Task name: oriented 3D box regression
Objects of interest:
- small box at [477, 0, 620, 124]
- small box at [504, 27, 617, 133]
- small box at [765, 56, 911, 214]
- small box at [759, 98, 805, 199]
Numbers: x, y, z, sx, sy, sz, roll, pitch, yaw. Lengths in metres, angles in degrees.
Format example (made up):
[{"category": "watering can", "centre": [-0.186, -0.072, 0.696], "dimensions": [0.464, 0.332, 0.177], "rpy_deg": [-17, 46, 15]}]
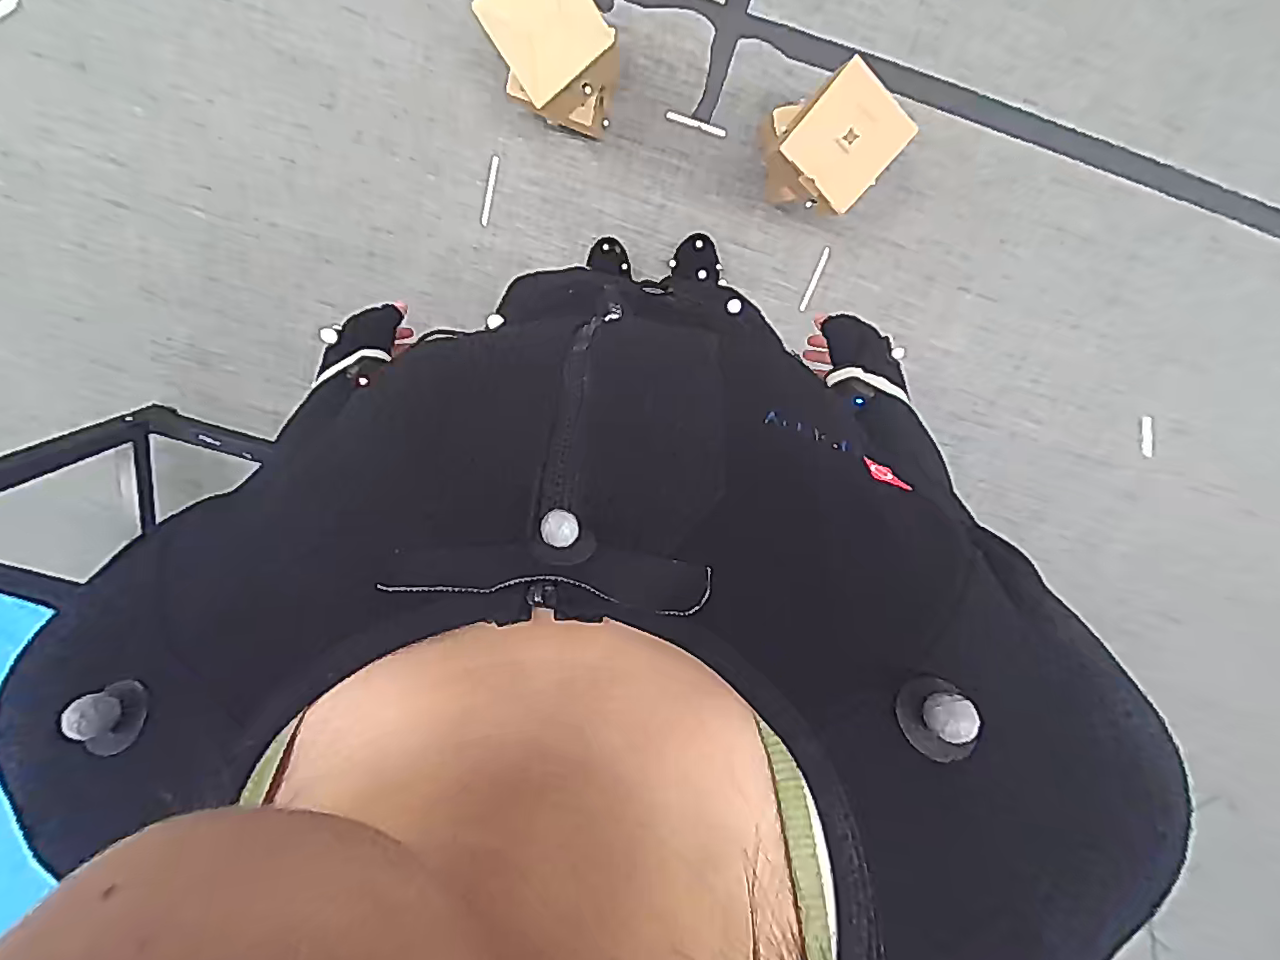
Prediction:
[{"category": "small box", "centre": [-0.155, -0.773, 0.945], "dimensions": [0.168, 0.176, 0.179], "rpy_deg": [-33, 109, 15]}, {"category": "small box", "centre": [-0.154, -0.833, 1.102], "dimensions": [0.179, 0.176, 0.168], "rpy_deg": [19, 114, -6]}, {"category": "small box", "centre": [0.351, -0.622, 1.003], "dimensions": [0.168, 0.176, 0.179], "rpy_deg": [38, 110, -17]}, {"category": "small box", "centre": [0.354, -0.703, 1.146], "dimensions": [0.179, 0.176, 0.168], "rpy_deg": [-11, 116, 7]}]
